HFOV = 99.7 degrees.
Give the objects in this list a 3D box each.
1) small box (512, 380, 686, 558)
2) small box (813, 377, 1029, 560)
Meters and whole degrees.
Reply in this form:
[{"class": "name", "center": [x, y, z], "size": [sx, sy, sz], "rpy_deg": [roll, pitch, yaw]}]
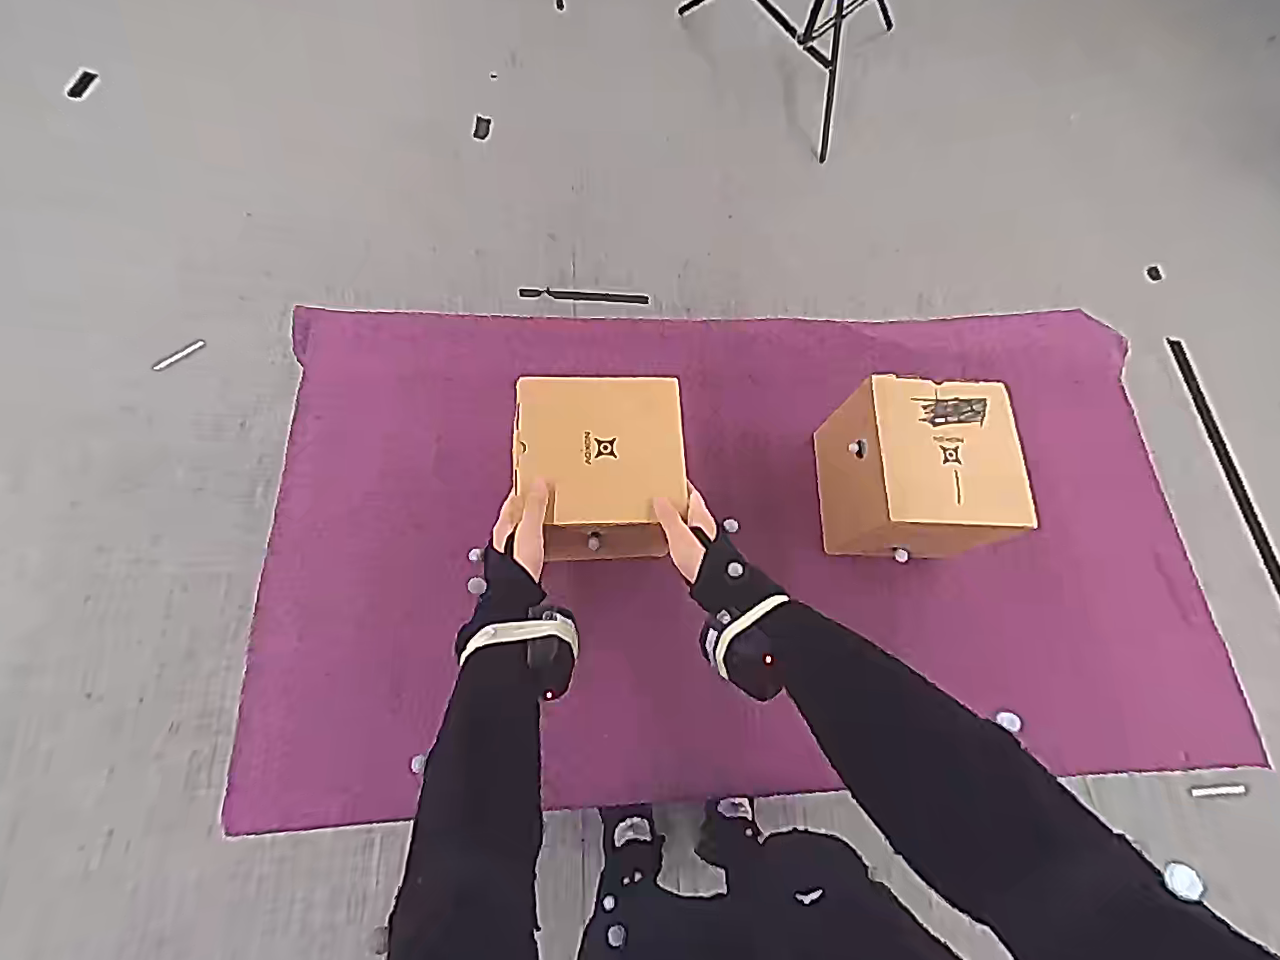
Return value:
[{"class": "small box", "center": [-0.051, -0.005, 0.635], "size": [0.179, 0.176, 0.168], "rpy_deg": [-1, 71, -6]}, {"class": "small box", "center": [0.328, -0.006, 0.672], "size": [0.168, 0.176, 0.179], "rpy_deg": [3, 71, -4]}]
